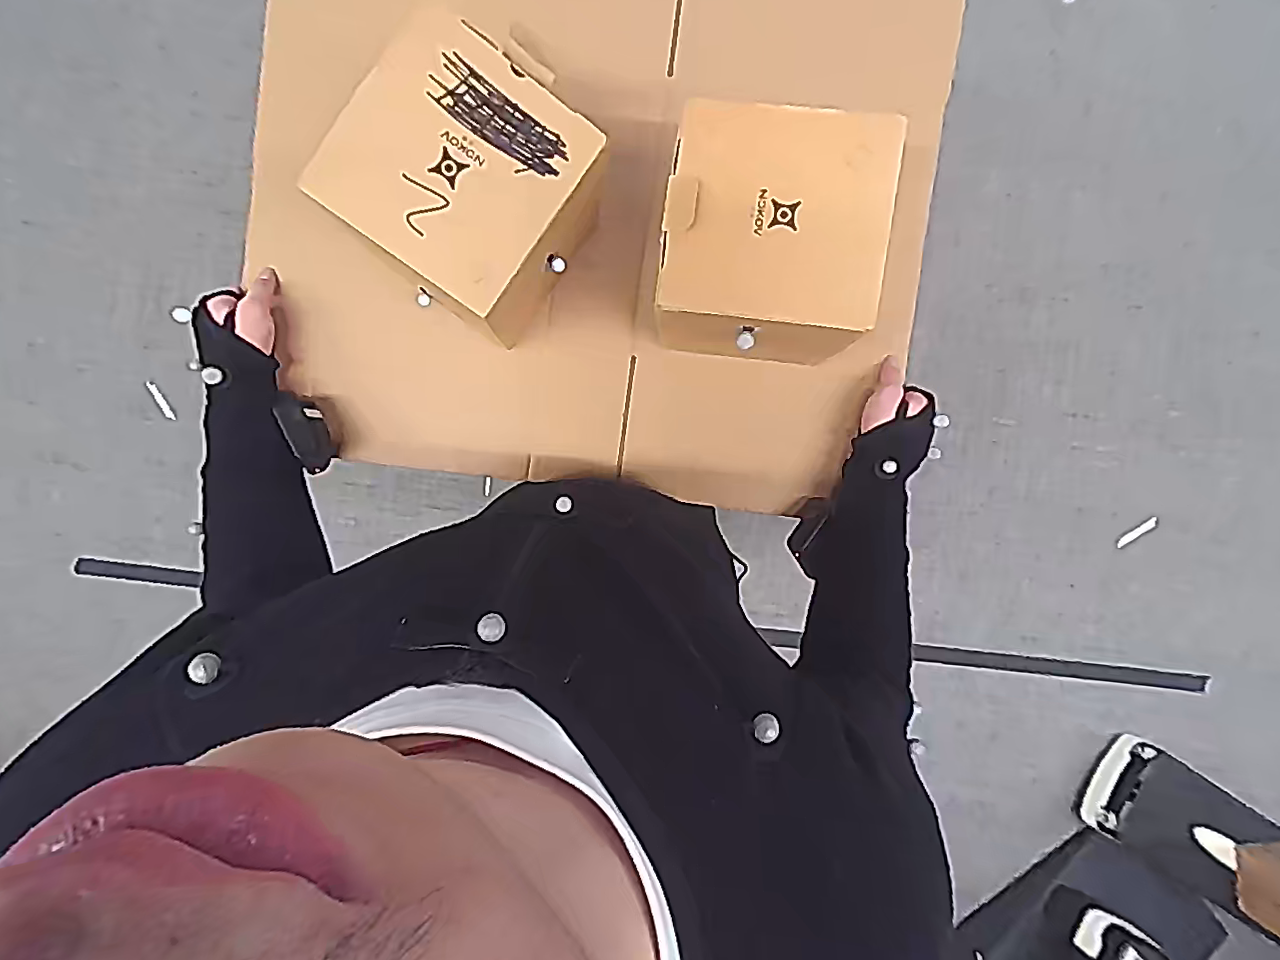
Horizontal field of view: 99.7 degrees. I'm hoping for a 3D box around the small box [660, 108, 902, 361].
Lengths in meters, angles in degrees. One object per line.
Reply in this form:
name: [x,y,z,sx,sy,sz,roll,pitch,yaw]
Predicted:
small box: [0.119,-0.215,0.520,0.179,0.176,0.168,8,93,5]
